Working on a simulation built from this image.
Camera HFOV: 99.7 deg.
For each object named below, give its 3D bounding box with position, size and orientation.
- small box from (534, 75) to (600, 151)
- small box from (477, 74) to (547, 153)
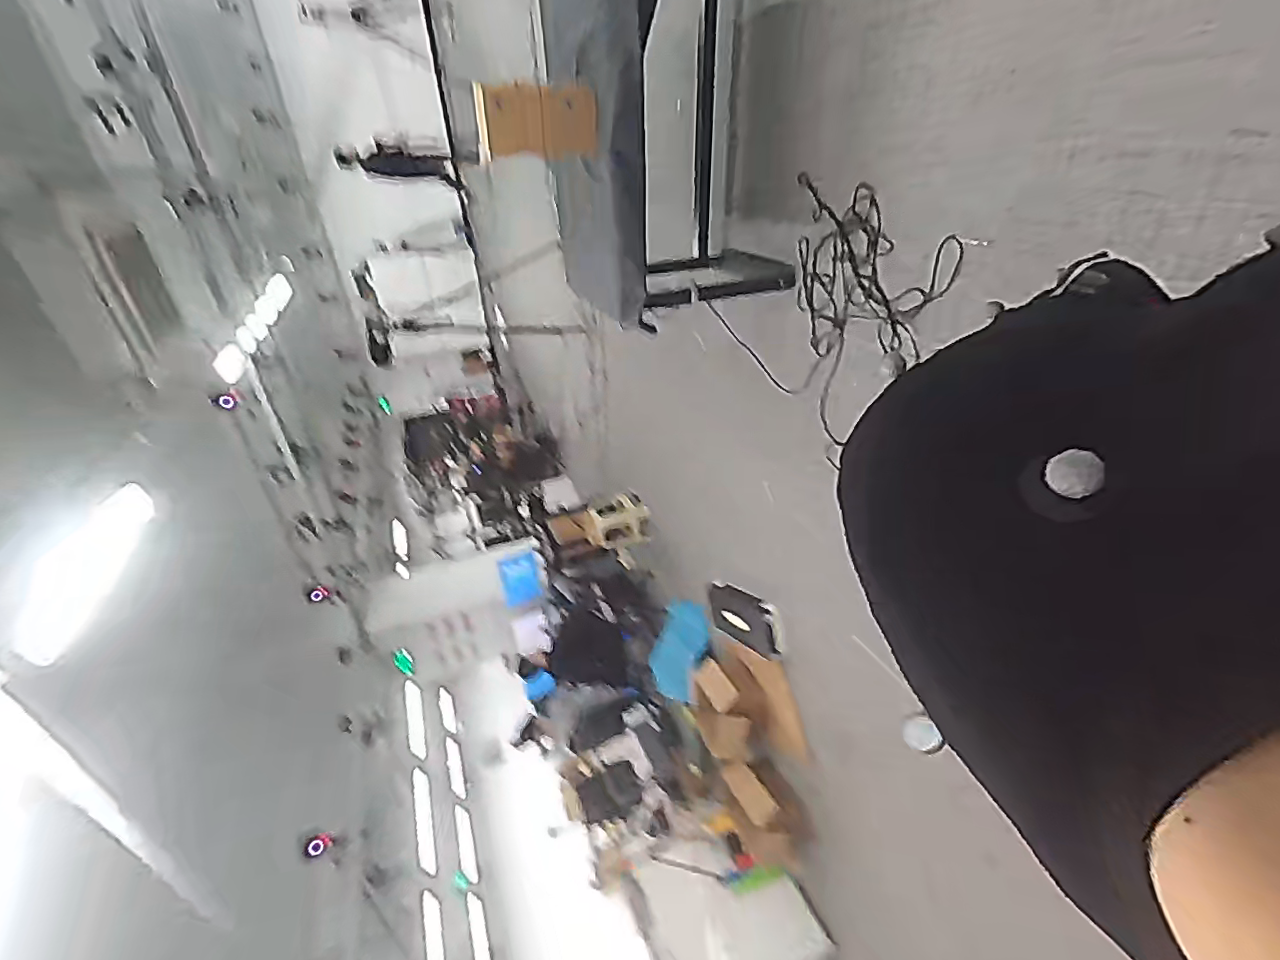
[{"bbox_3d":[-0.225,-1.124,1.652,0.168,0.176,0.179,-121,24,-45],"label":"small box"},{"bbox_3d":[-0.376,-1.090,1.605,0.168,0.176,0.179,-121,26,-44],"label":"small box"}]
